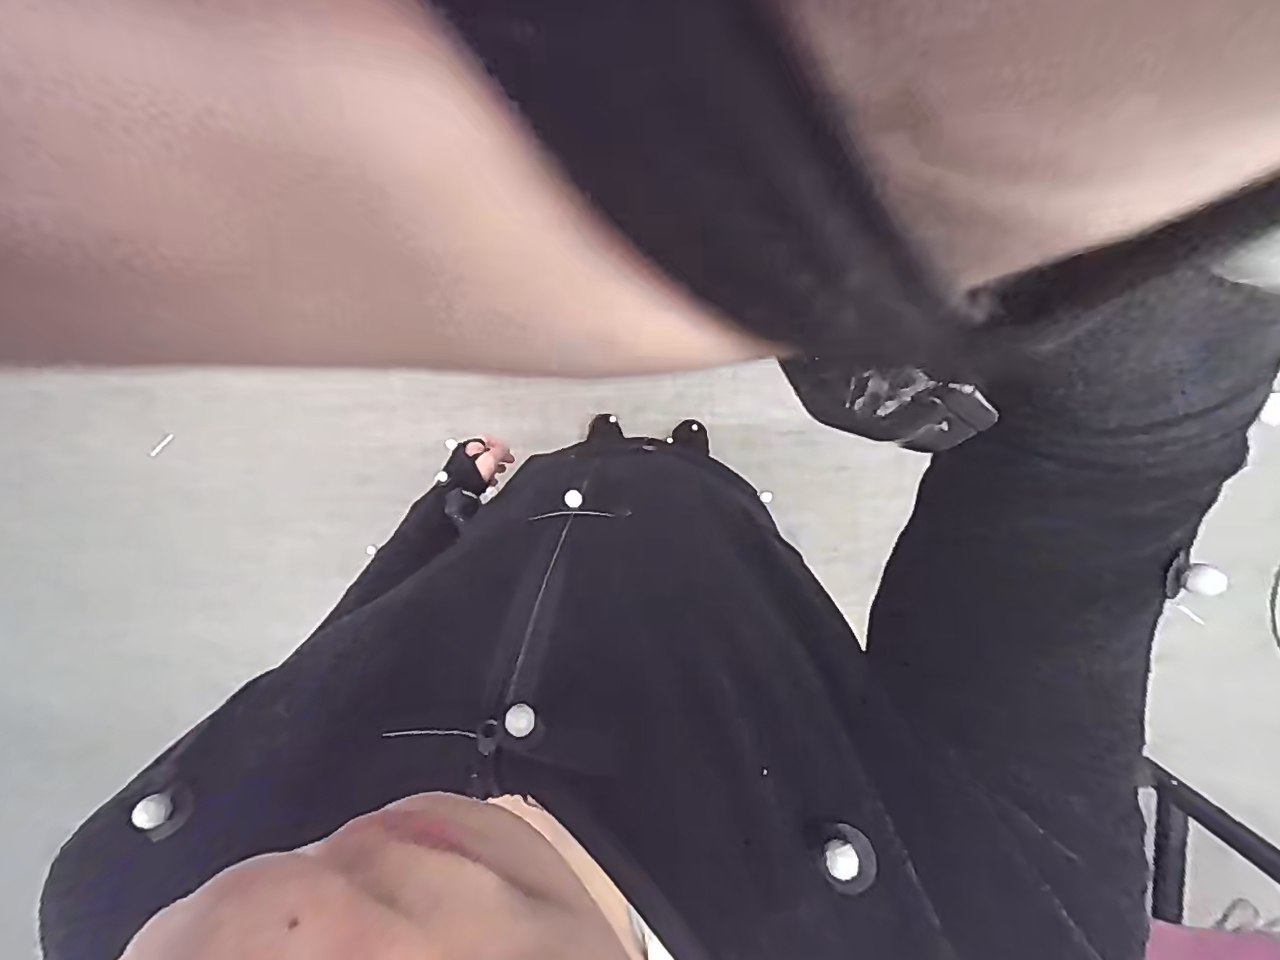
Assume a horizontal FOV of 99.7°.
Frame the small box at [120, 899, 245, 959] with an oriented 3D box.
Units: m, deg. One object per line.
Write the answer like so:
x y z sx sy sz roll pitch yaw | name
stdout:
-1.135 1.194 1.345 0.179 0.176 0.168 10 98 2 | small box
